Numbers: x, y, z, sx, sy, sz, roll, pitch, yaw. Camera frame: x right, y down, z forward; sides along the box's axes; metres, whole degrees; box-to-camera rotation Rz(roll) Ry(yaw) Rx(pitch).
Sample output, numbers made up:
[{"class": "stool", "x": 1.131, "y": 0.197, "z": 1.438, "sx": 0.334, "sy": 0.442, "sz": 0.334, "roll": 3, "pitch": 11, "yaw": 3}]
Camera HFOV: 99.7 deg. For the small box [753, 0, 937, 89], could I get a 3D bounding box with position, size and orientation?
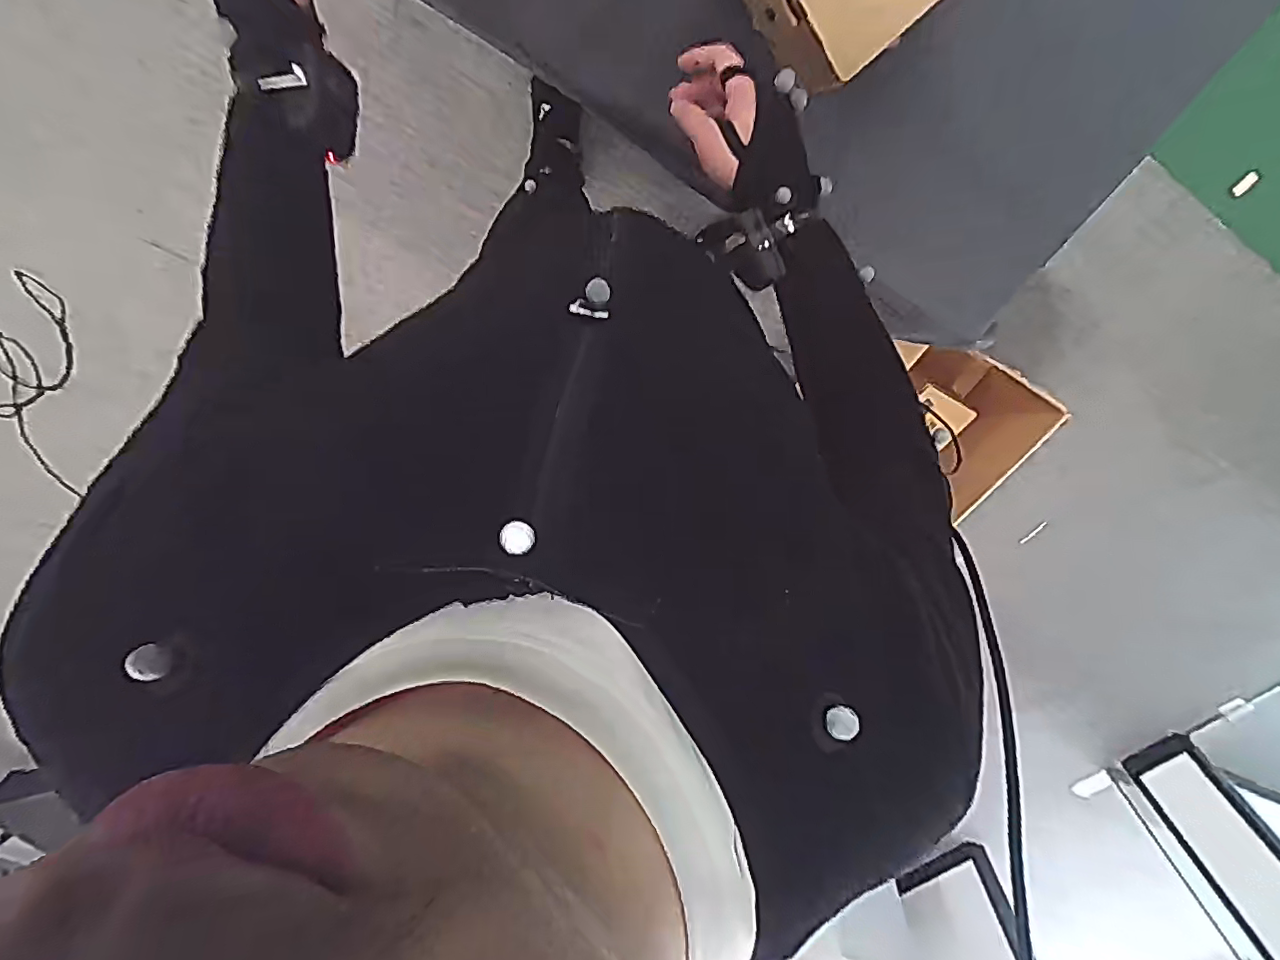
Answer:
[{"class": "small box", "x": 0.191, "y": -0.483, "z": 0.475, "sx": 0.179, "sy": 0.176, "sz": 0.168, "roll": -34, "pitch": 115, "yaw": 22}]
